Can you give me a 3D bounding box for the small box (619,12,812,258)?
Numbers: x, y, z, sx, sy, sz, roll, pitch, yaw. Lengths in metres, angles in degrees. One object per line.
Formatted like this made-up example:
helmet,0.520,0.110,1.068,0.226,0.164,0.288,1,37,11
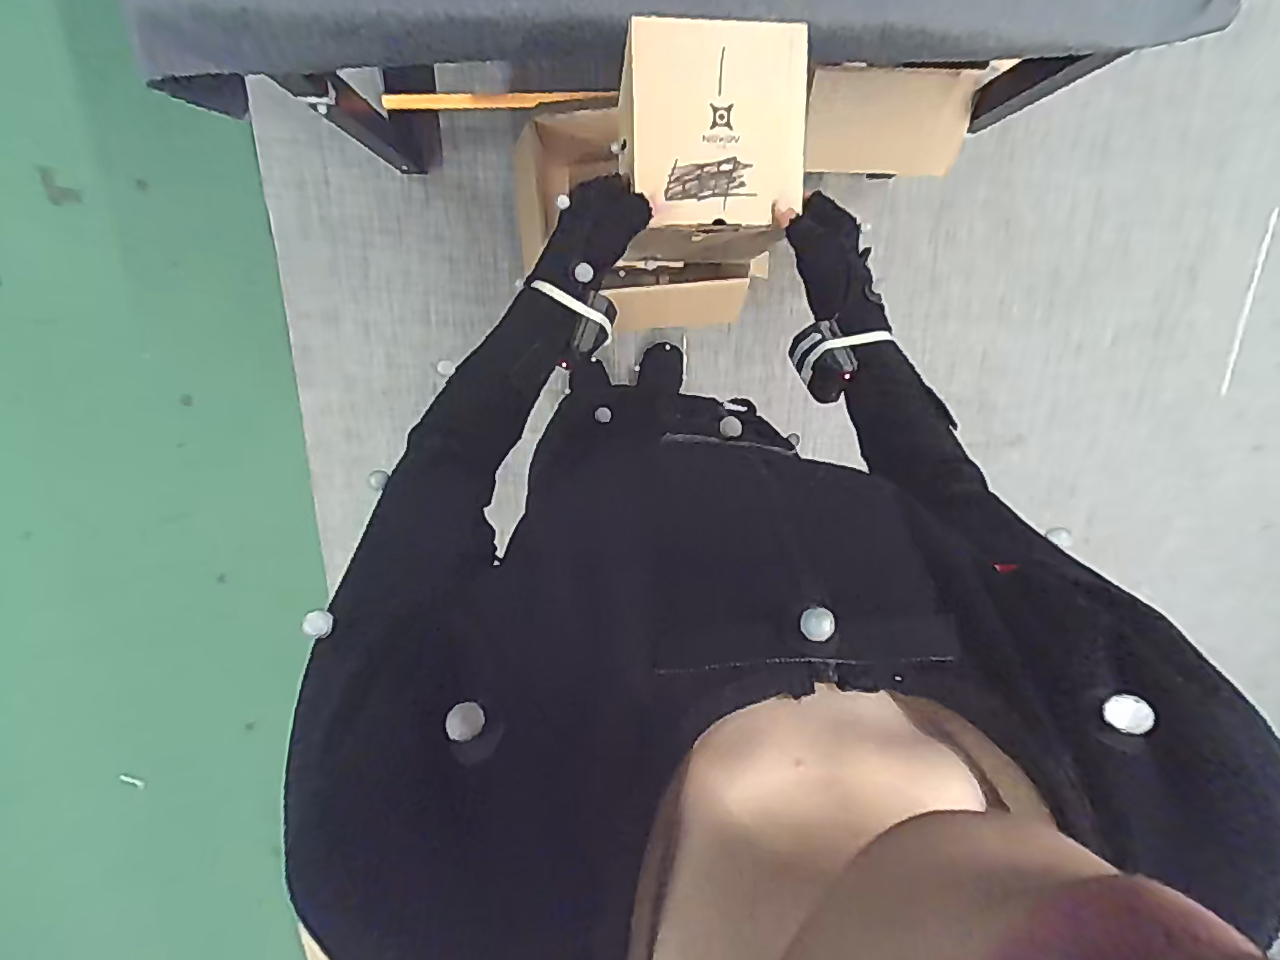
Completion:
small box,0.067,-0.342,0.575,0.168,0.176,0.179,-2,101,-6
